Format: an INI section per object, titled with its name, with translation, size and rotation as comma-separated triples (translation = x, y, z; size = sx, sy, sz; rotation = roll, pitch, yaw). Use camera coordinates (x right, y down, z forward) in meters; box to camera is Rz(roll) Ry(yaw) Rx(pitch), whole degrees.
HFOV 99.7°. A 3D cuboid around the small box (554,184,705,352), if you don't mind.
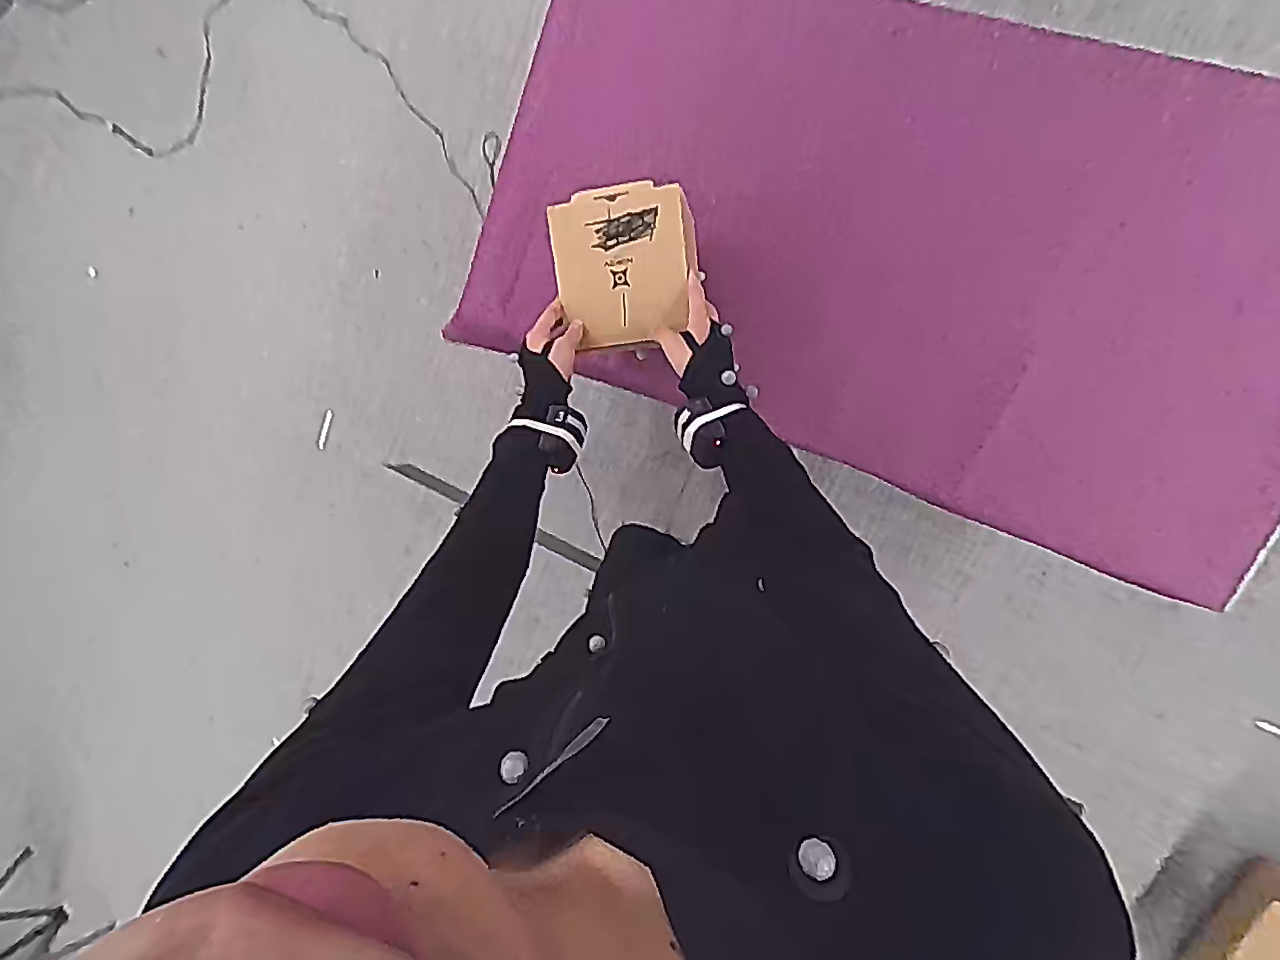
[small box]
translation = -0.004, -0.271, 0.733
size = 0.168, 0.176, 0.179
rotation = -3, 102, 12
